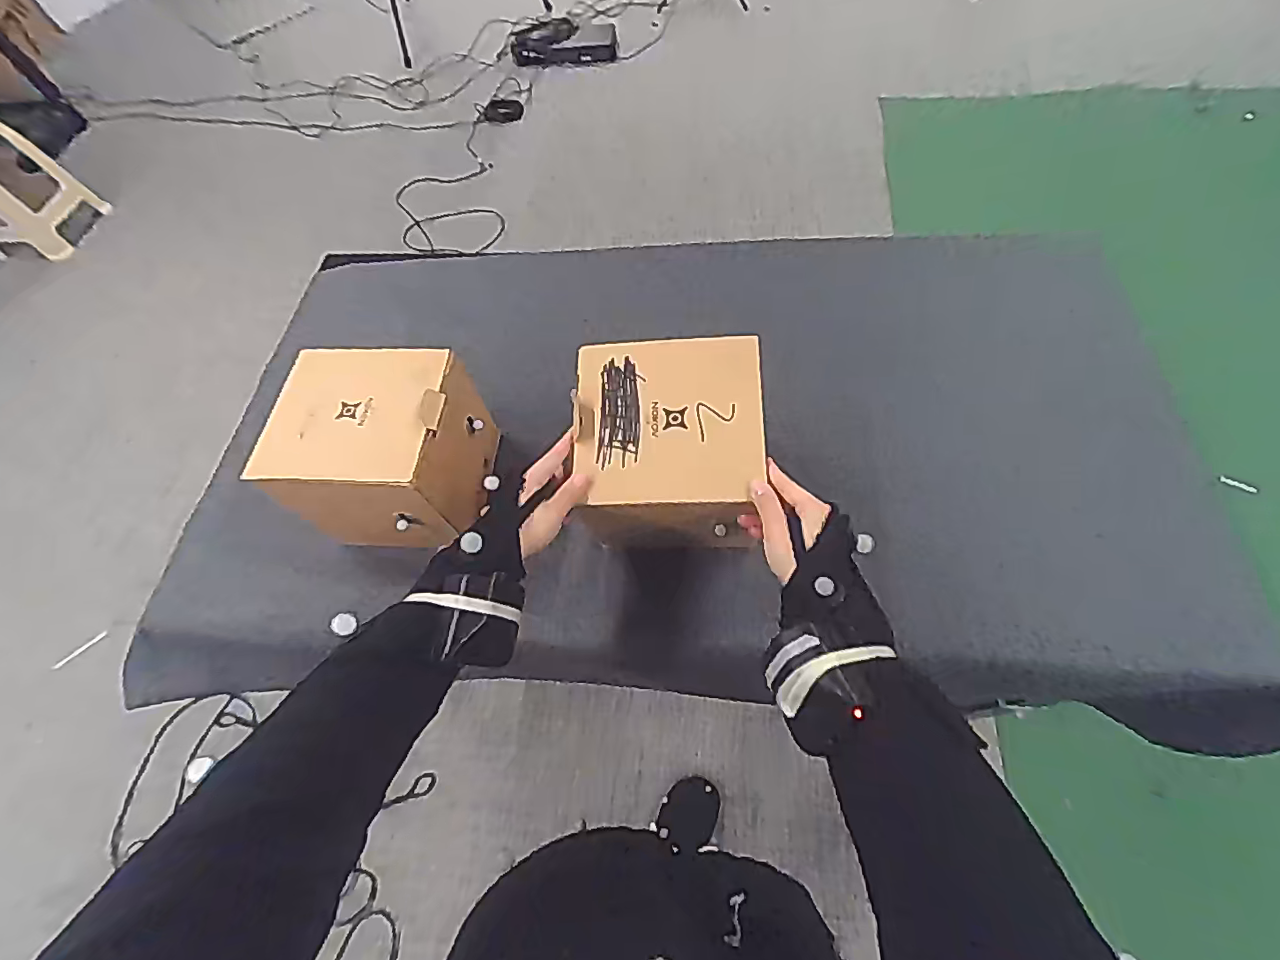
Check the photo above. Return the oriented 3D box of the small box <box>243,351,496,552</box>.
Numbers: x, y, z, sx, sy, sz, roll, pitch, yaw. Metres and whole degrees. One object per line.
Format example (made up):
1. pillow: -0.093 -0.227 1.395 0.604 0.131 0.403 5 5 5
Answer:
1. small box: -0.280 -0.026 0.612 0.179 0.176 0.168 1 60 6
